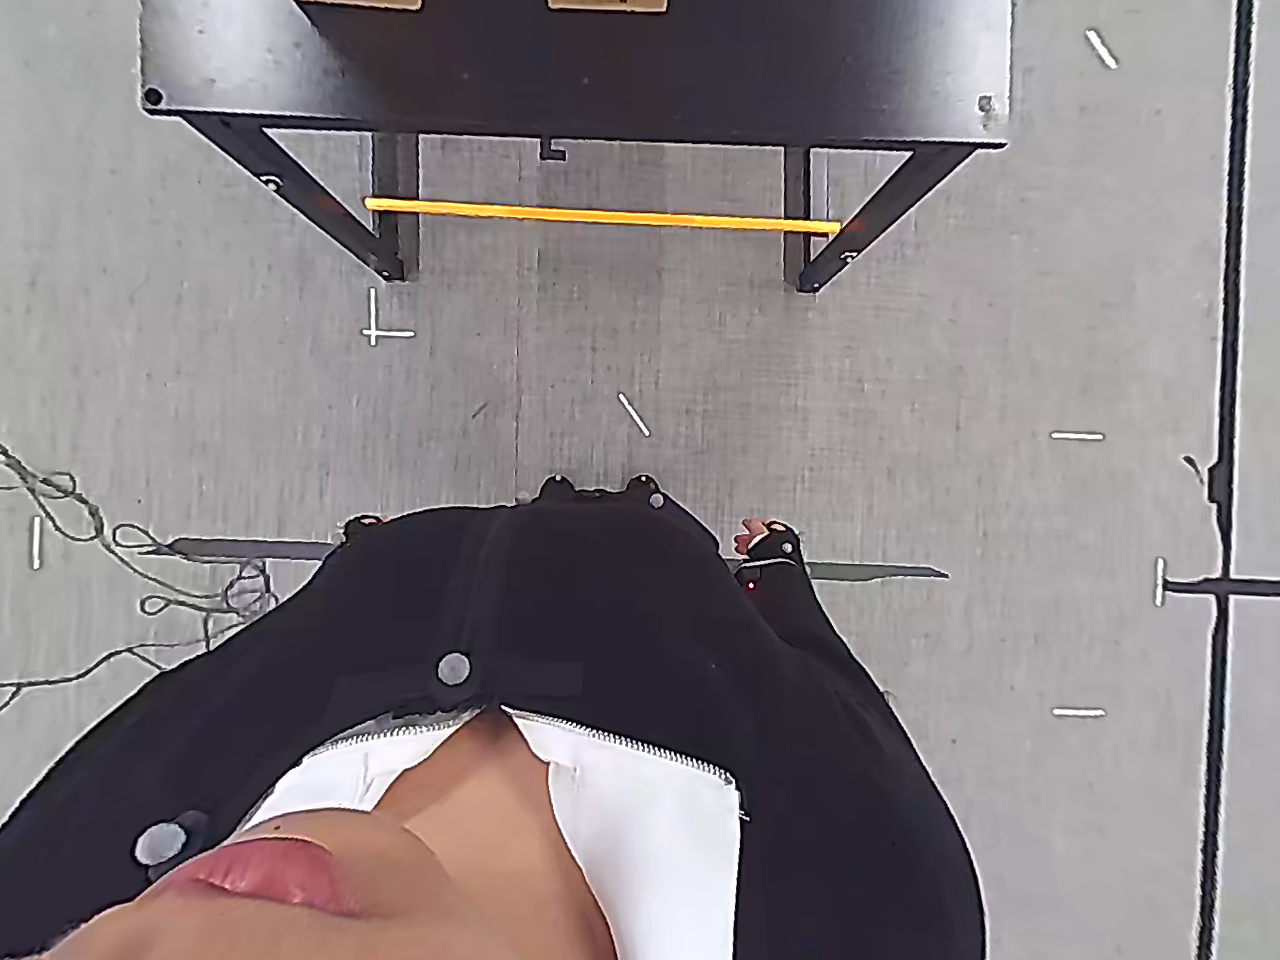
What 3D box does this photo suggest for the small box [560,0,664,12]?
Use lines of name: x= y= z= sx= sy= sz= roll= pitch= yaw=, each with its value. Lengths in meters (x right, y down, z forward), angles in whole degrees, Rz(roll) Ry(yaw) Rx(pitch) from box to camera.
small box: x=-0.044 y=-0.740 z=0.679 sx=0.168 sy=0.176 sz=0.179 roll=0 pitch=91 yaw=-2

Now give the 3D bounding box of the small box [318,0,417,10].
small box: x=-0.382 y=-0.730 z=0.663 sx=0.179 sy=0.176 sz=0.168 roll=2 pitch=91 yaw=-4
